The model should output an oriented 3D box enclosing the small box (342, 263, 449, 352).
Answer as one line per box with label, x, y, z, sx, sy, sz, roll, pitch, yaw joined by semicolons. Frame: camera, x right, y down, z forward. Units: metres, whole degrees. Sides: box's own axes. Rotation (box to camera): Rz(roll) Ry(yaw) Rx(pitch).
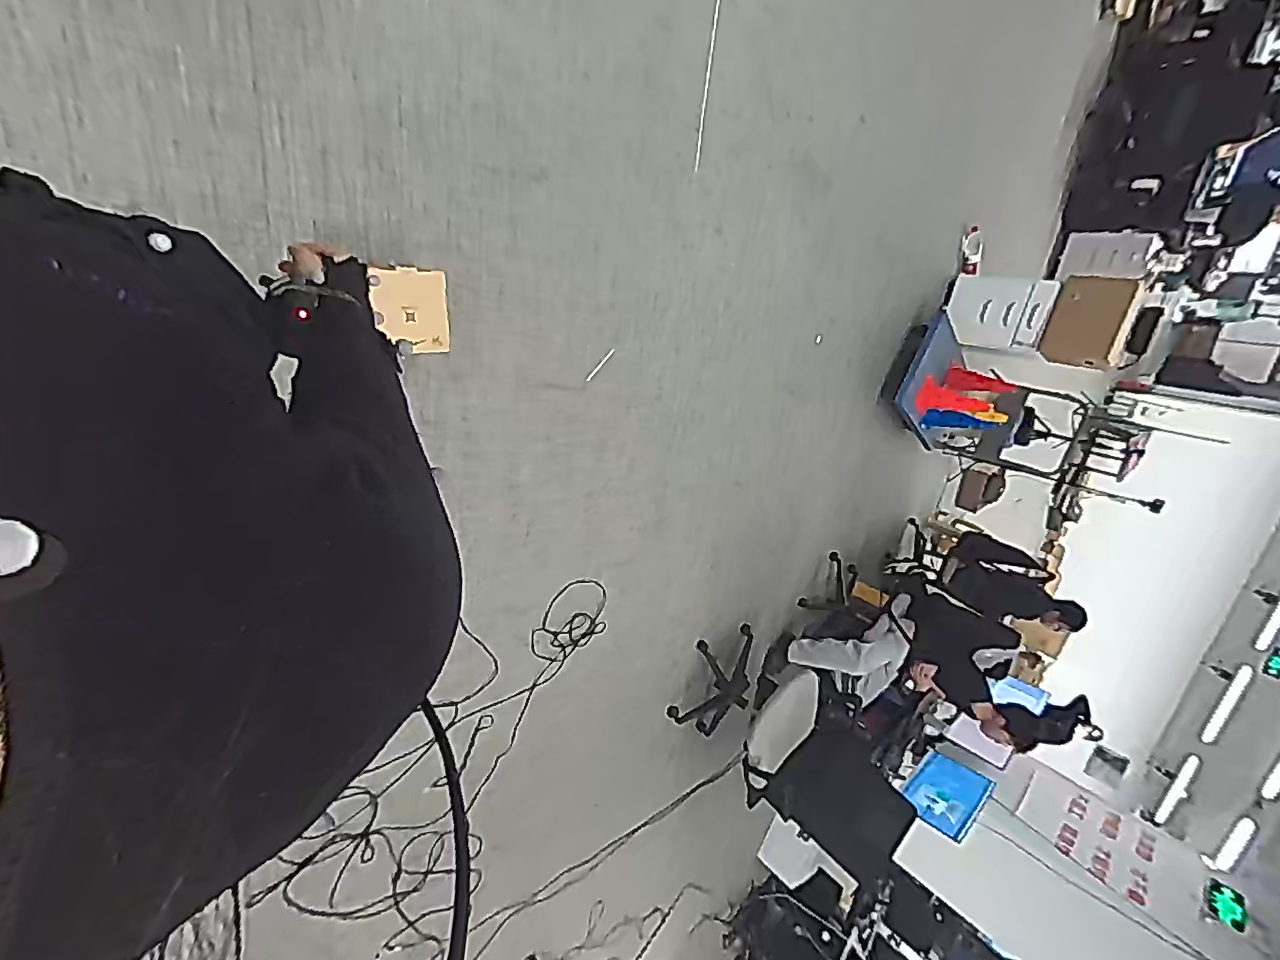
small box;-0.546;-0.387;1.207;0.168;0.176;0.179;-15;118;-40
